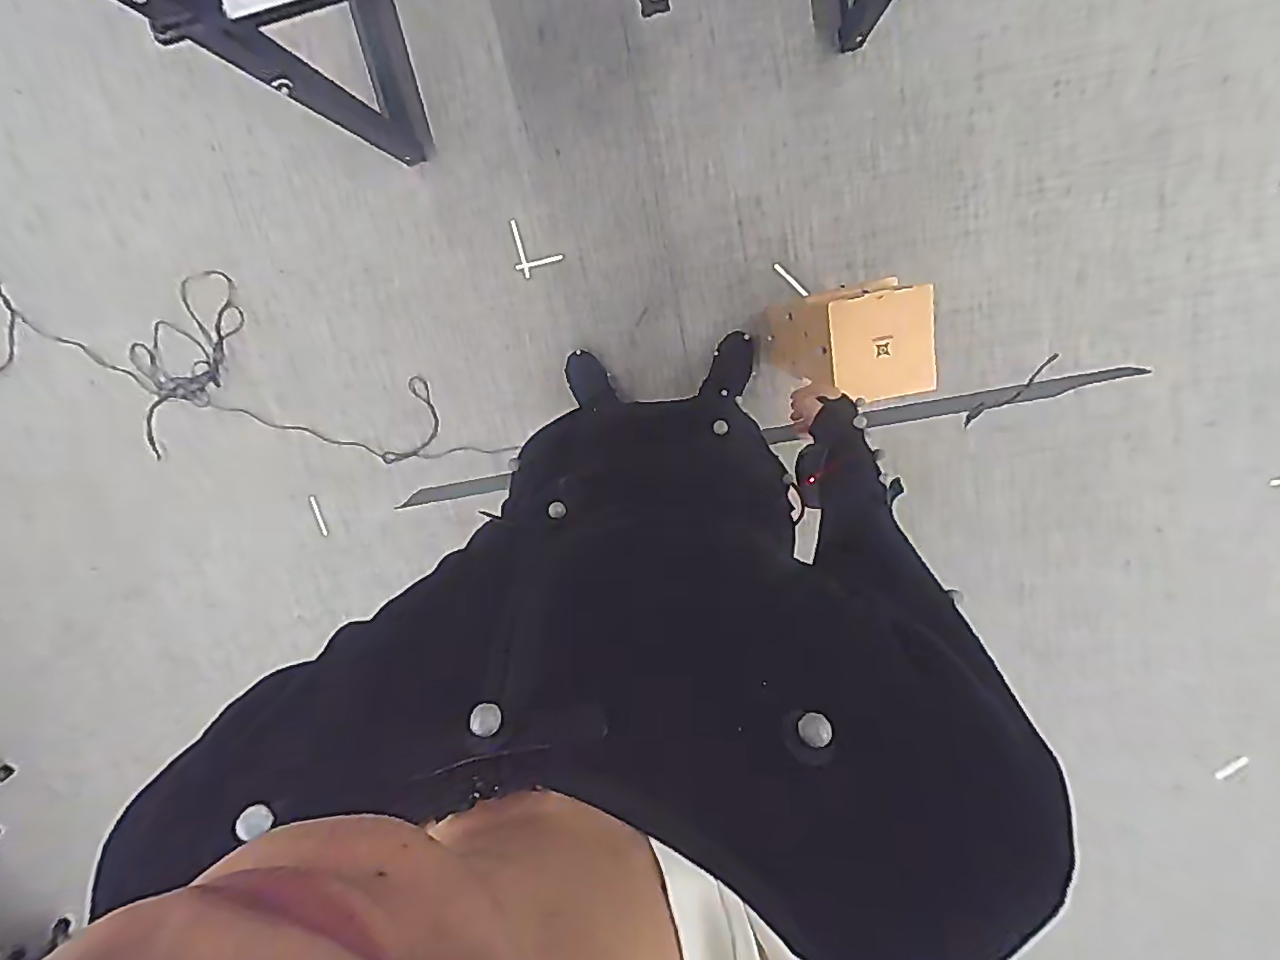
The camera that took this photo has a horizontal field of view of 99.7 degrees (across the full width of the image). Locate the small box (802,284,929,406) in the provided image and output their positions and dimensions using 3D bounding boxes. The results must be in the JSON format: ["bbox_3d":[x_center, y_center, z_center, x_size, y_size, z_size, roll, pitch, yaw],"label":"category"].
[{"bbox_3d":[0.395,-0.243,0.964,0.168,0.176,0.179,-9,106,6],"label":"small box"}]

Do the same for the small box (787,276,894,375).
[{"bbox_3d":[0.409,-0.311,1.112,0.179,0.176,0.168,-12,107,6],"label":"small box"}]

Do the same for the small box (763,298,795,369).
[{"bbox_3d":[0.435,-0.399,1.428,0.179,0.176,0.168,-11,106,7],"label":"small box"}]
